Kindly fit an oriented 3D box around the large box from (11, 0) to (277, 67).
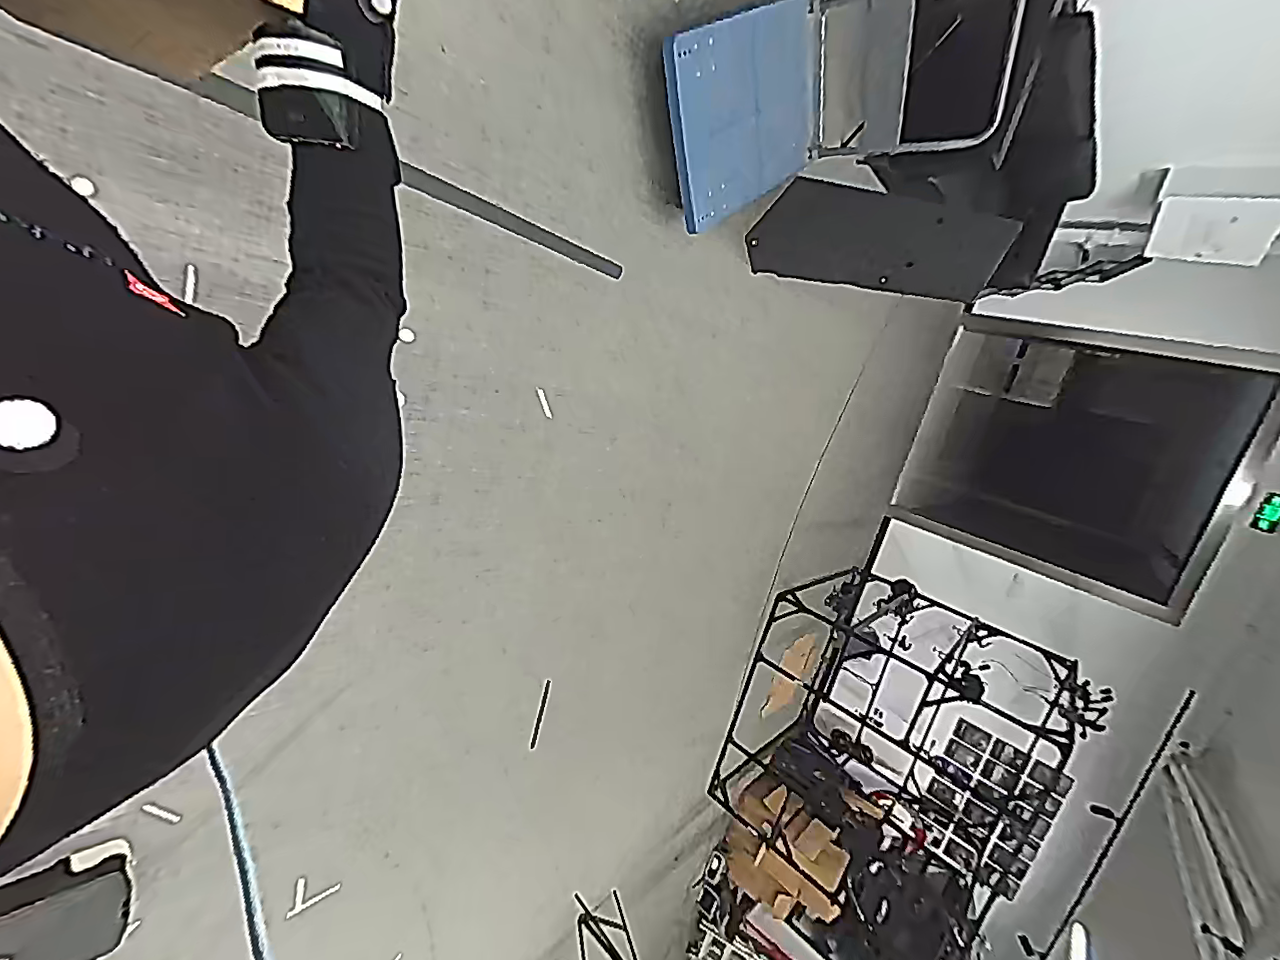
[{"bbox_3d":[-0.431,-0.489,0.254,0.408,0.320,0.320,-4,111,-50],"label":"large box"}]
